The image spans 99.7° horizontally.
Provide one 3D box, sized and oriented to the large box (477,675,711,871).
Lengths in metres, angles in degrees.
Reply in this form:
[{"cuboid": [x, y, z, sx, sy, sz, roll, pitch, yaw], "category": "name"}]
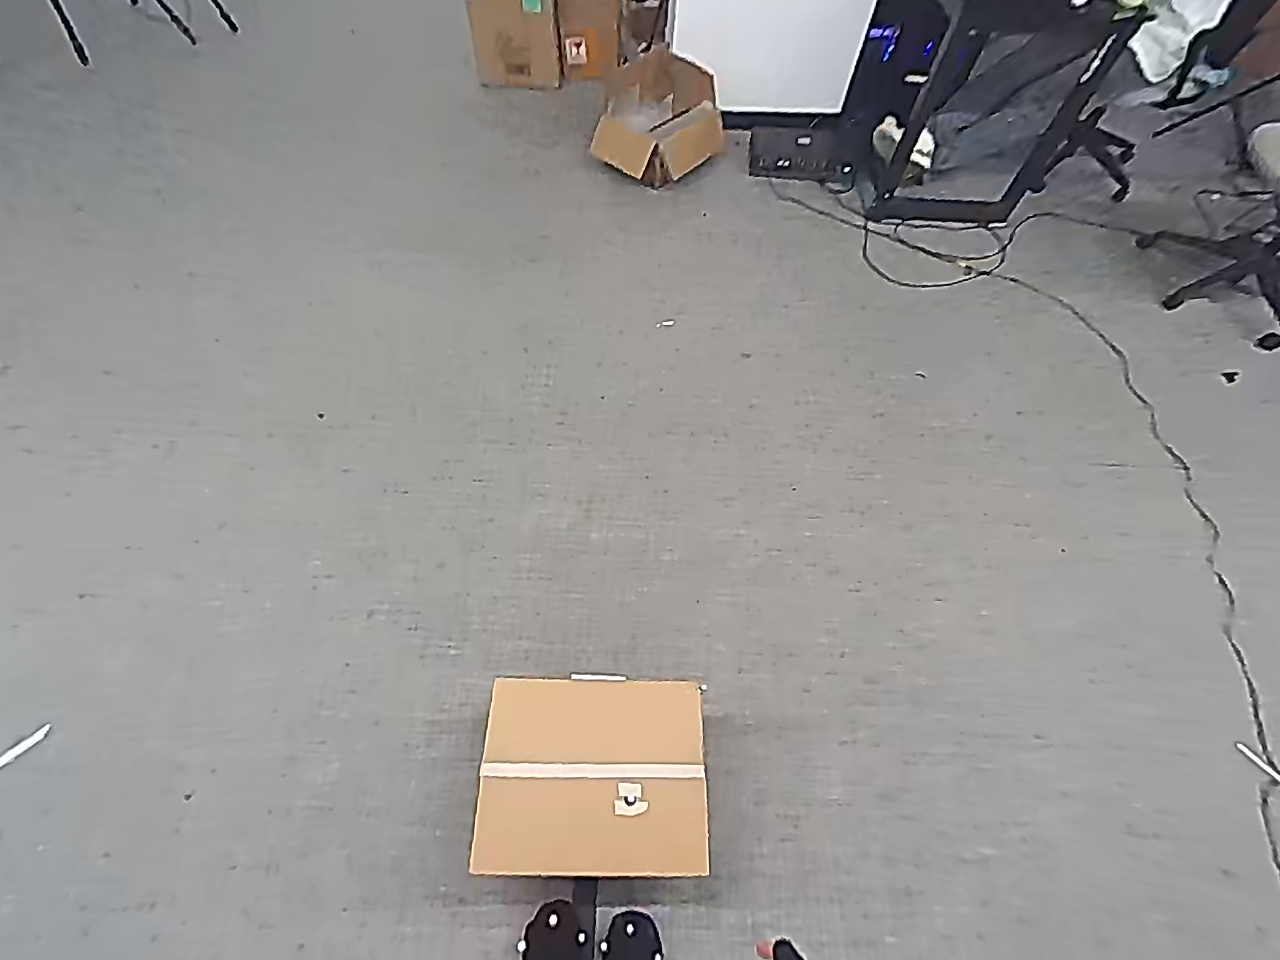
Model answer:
[{"cuboid": [-0.086, 0.595, 1.112, 0.408, 0.320, 0.320, 2, 60, -2], "category": "large box"}]
